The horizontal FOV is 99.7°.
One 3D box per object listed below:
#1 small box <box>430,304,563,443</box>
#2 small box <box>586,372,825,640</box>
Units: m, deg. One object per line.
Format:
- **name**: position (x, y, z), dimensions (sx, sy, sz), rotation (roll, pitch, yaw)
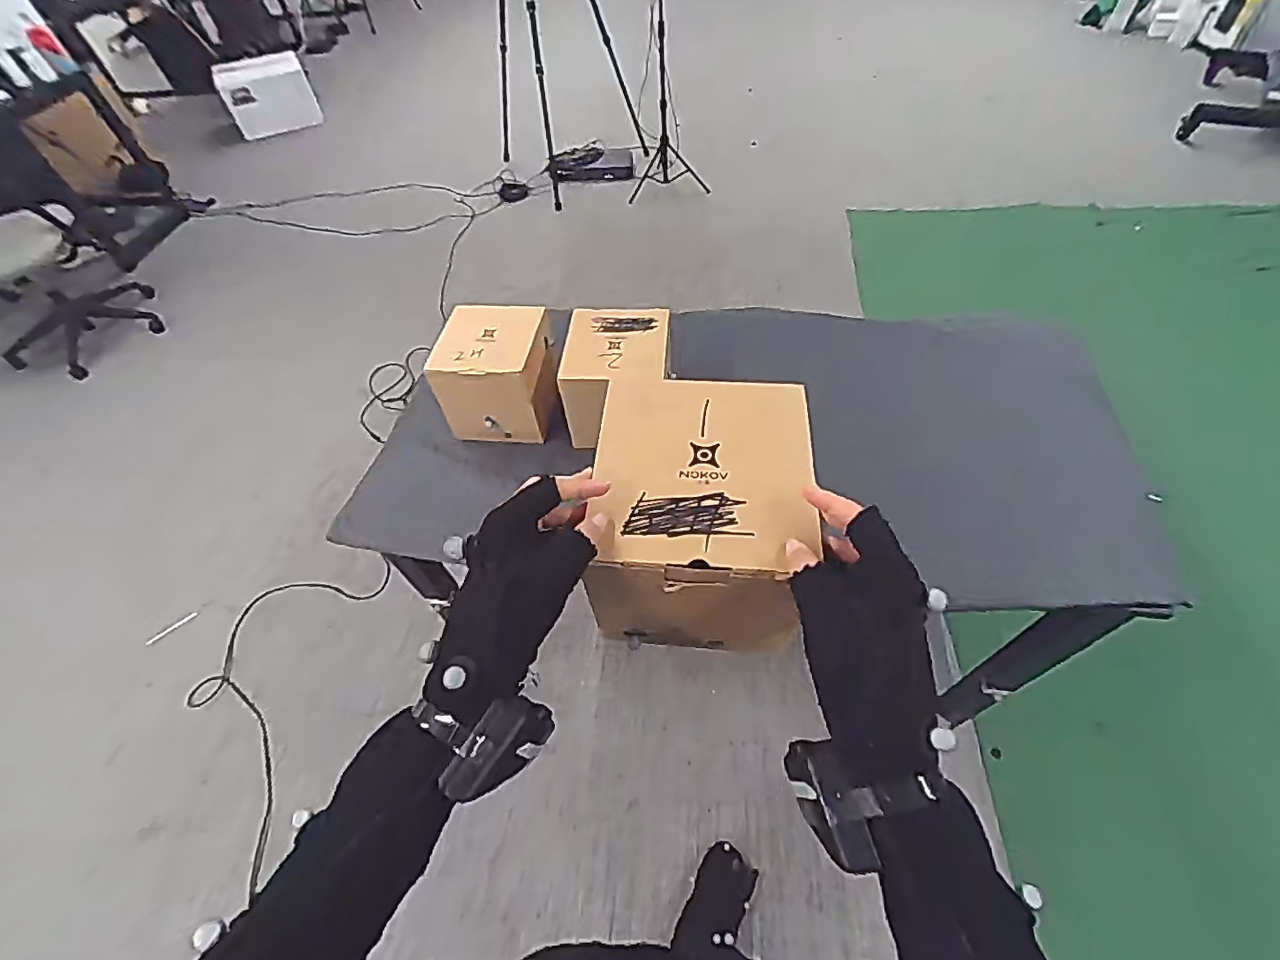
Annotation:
- **small box**: position (-0.240, -0.190, 0.964), dimensions (0.168, 0.176, 0.179), rotation (4, 53, 7)
- **small box**: position (0.057, 0.028, 0.476), dimensions (0.168, 0.176, 0.179), rotation (4, 55, 6)
